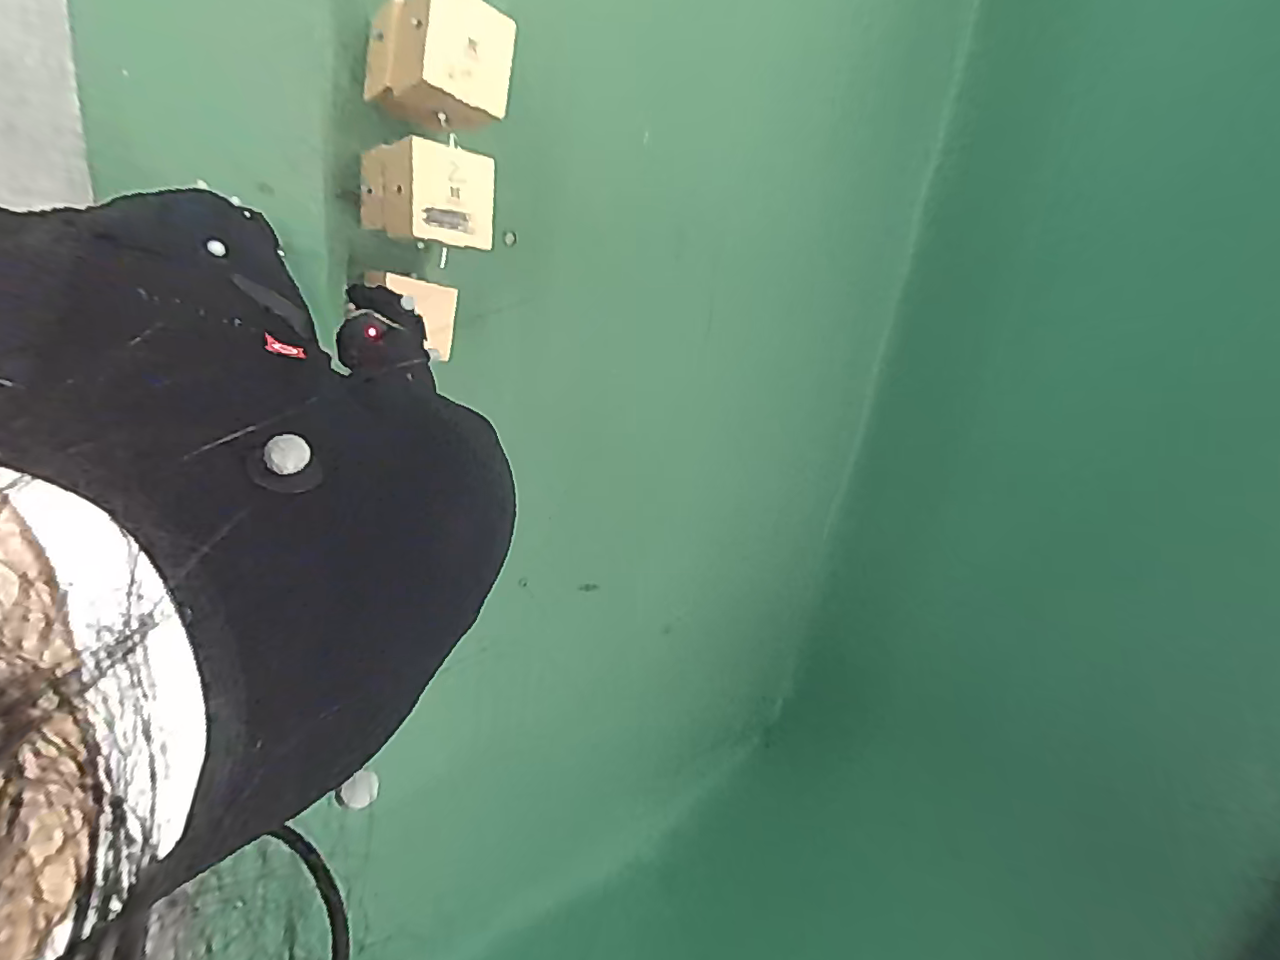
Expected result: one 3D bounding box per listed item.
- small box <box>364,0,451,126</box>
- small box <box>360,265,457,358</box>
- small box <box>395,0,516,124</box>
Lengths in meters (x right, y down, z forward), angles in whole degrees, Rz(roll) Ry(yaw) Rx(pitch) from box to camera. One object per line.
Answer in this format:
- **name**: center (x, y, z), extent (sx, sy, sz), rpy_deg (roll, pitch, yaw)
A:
- **small box**: center (-0.480, -0.899, 1.173), extent (0.179, 0.176, 0.168), rpy_deg (2, 106, -43)
- **small box**: center (-0.566, -0.409, 1.311), extent (0.168, 0.176, 0.179), rpy_deg (1, 107, -43)
- **small box**: center (-0.368, -0.841, 1.066), extent (0.168, 0.176, 0.179), rpy_deg (1, 107, -42)
